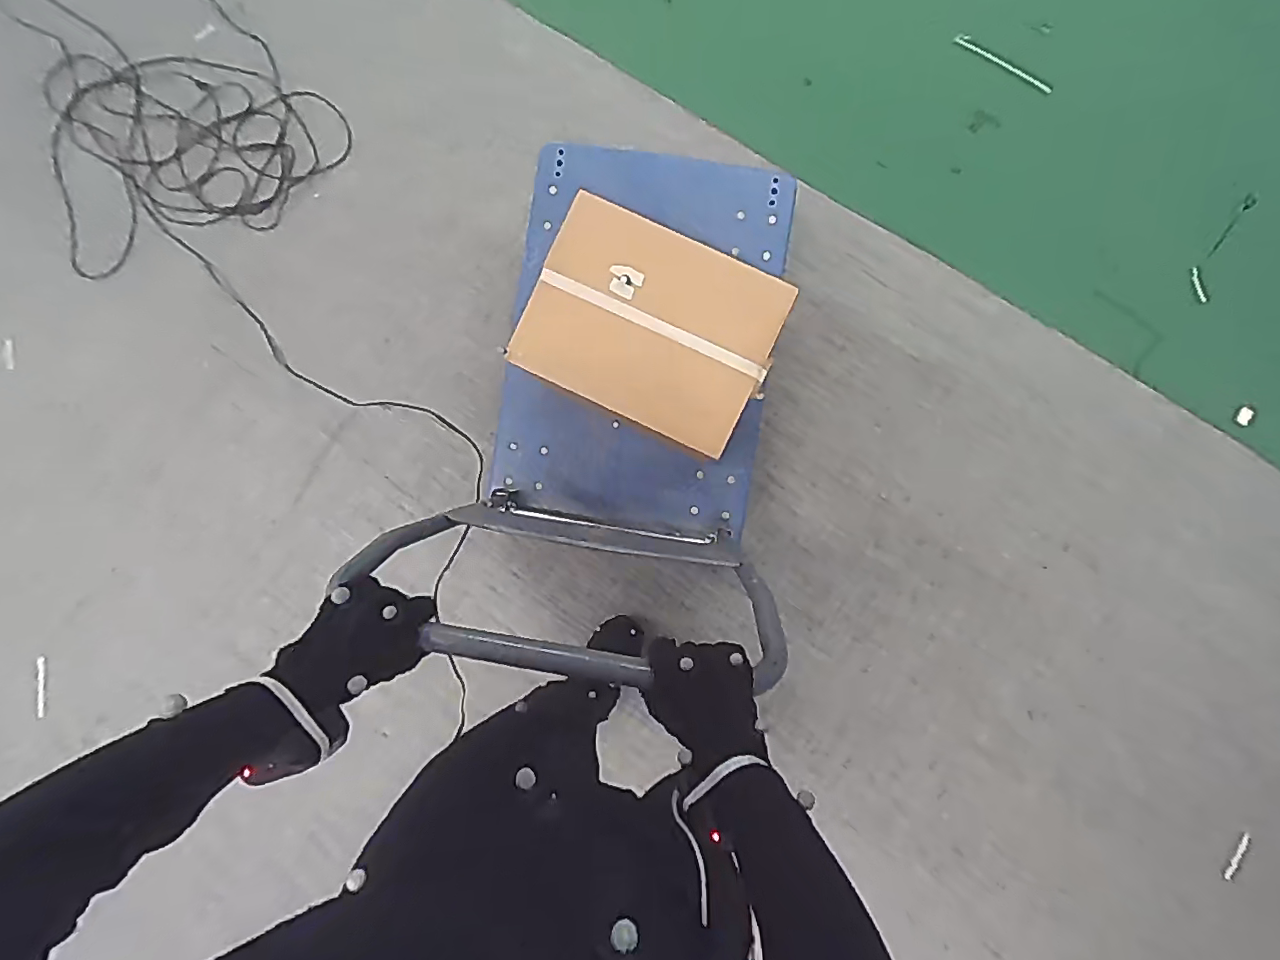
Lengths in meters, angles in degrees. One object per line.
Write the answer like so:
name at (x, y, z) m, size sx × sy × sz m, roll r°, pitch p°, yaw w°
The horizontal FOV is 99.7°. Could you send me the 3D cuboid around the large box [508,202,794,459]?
large box at (0.027, -0.253, 1.046) m, size 0.408 × 0.320 × 0.320 m, roll 24°, pitch 92°, yaw 3°
